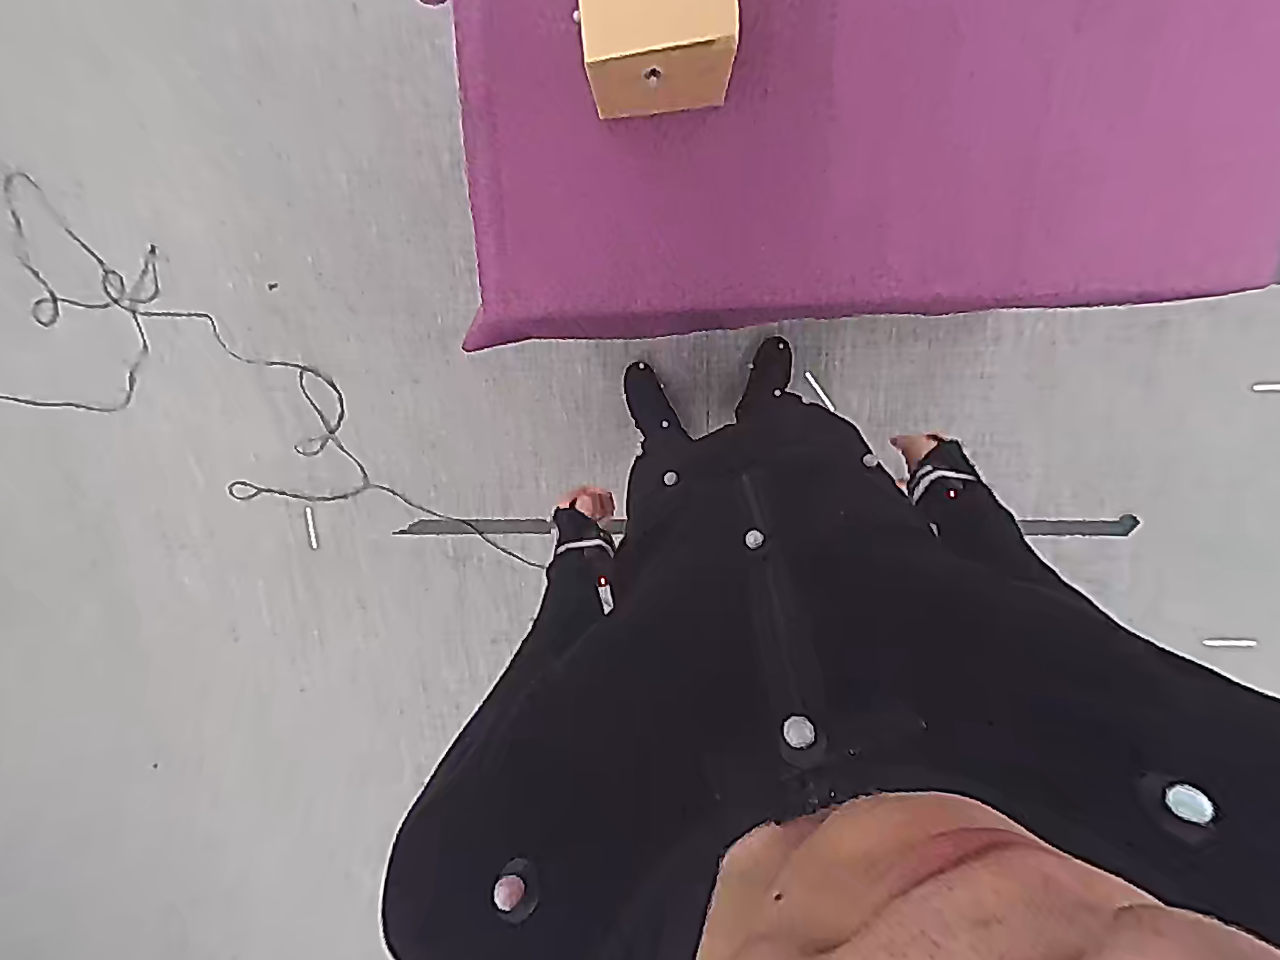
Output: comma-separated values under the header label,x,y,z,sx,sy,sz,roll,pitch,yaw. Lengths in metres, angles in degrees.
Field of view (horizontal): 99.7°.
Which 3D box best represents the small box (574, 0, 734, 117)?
label,x,y,z,sx,sy,sz,roll,pitch,yaw
small box,0.015,-0.570,0.659,0.179,0.176,0.168,-4,105,2
